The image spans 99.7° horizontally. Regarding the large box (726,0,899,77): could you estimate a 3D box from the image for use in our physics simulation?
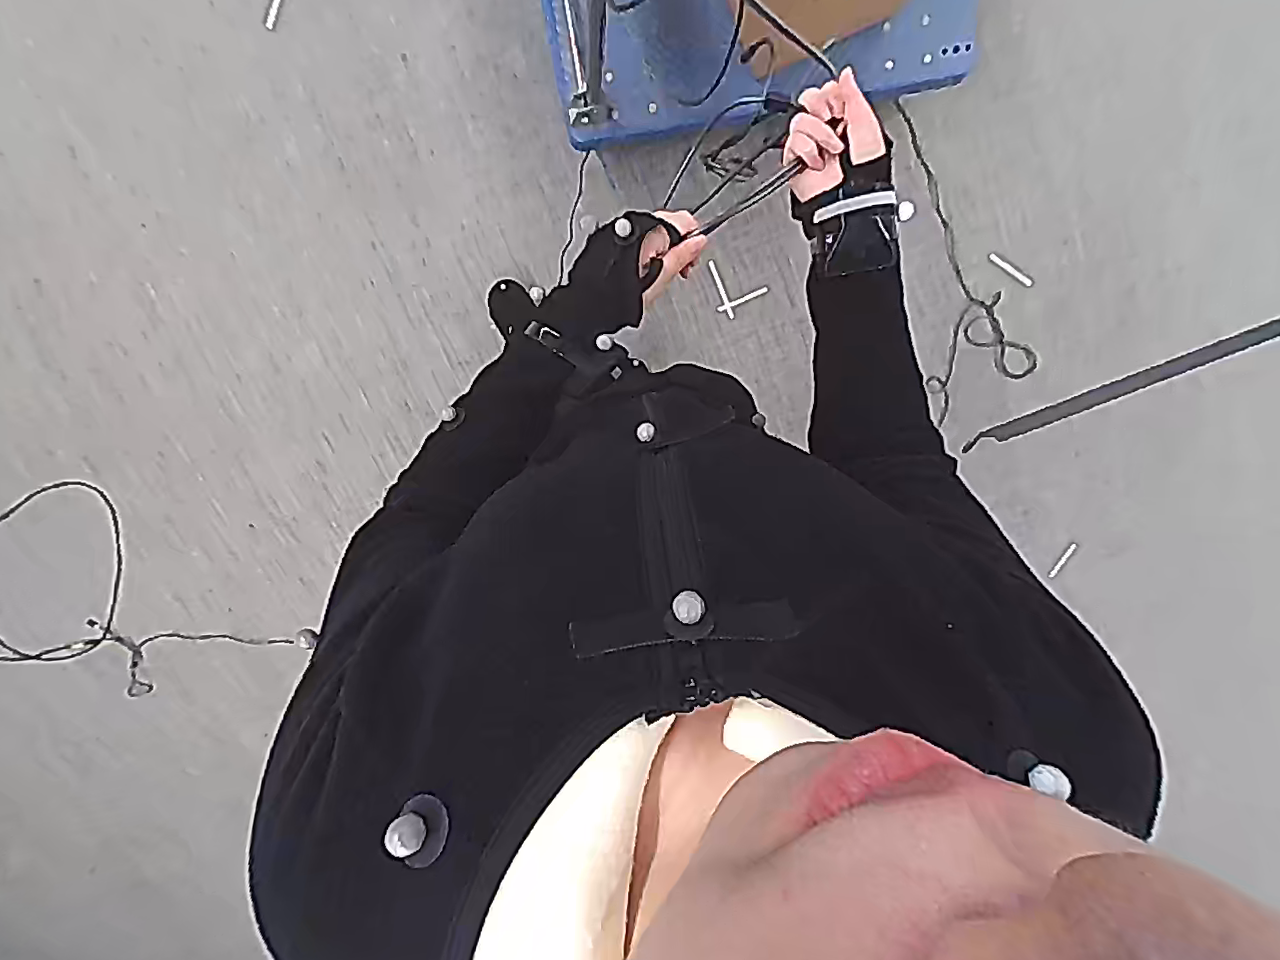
[{"bbox_3d":[0.298,-1.030,0.923,0.320,0.320,0.408,-23,104,4],"label":"large box"}]
